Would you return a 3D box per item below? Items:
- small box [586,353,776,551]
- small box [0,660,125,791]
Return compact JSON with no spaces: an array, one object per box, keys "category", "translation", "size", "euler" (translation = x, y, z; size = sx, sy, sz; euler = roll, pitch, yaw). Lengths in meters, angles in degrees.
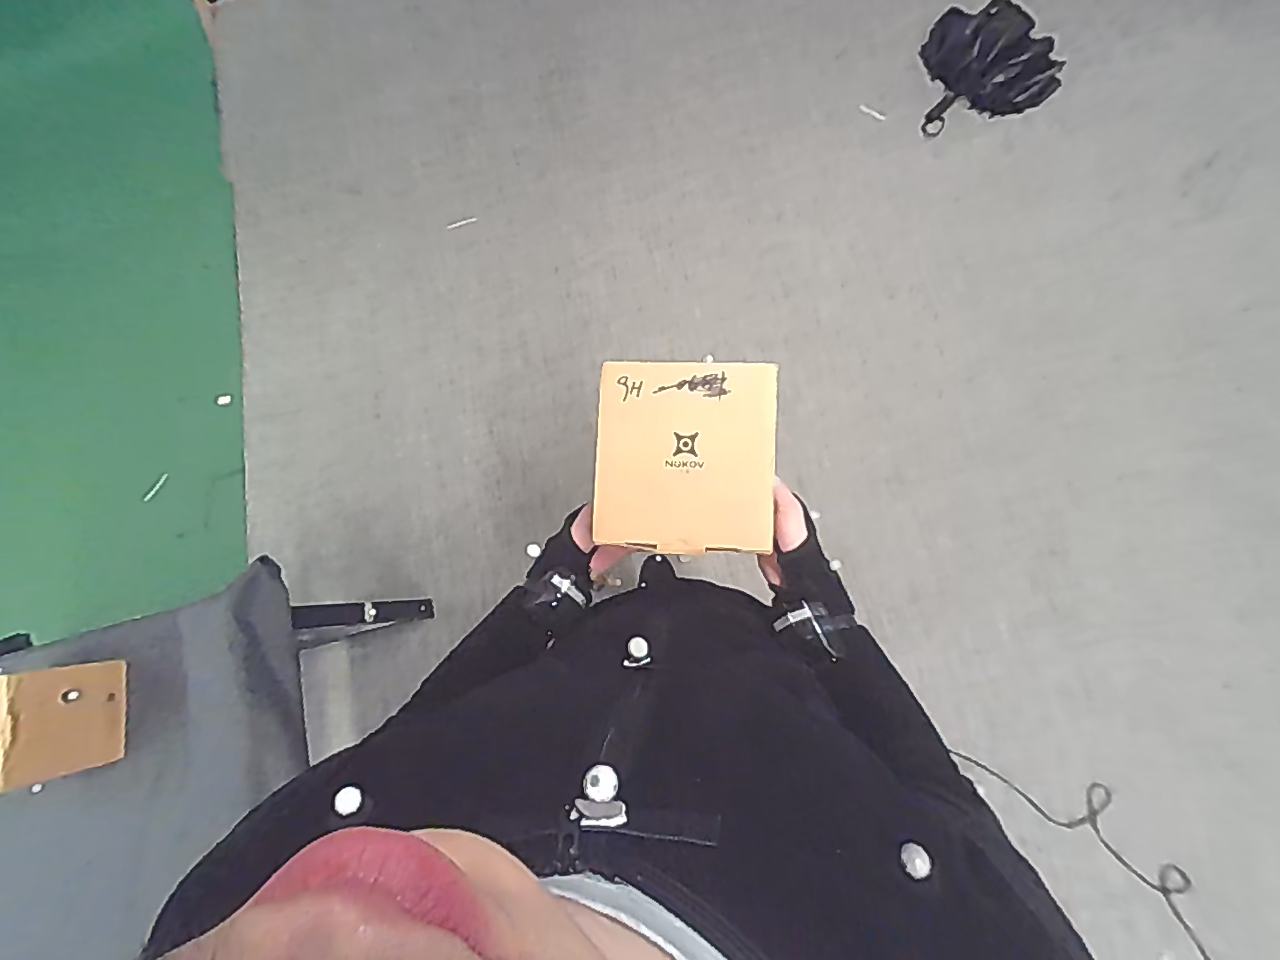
[{"category":"small box","translation":[0.046,-0.021,0.566],"size":[0.168,0.176,0.179],"euler":[3,84,7]},{"category":"small box","translation":[-0.978,0.390,0.859],"size":[0.179,0.176,0.168],"euler":[-12,75,7]}]
